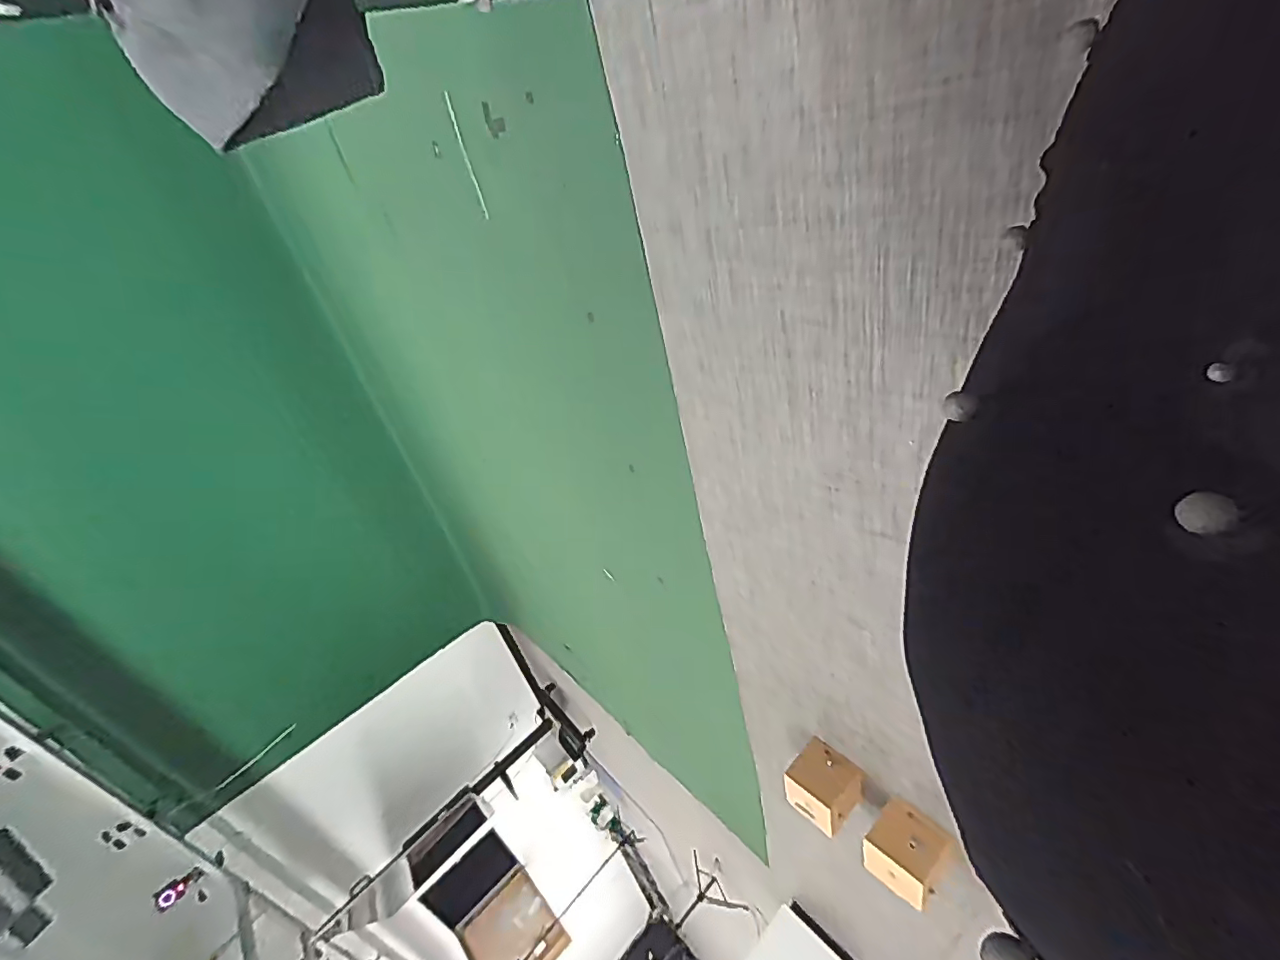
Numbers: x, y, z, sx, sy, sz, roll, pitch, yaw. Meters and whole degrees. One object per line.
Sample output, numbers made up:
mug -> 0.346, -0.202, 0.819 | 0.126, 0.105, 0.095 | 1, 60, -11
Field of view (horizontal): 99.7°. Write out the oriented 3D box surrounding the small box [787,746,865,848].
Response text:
small box -> 0.581, 0.979, 1.680 | 0.168, 0.176, 0.179 | 23, 136, 46

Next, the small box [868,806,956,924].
small box -> 0.753, 1.056, 1.496 | 0.168, 0.176, 0.179 | 22, 137, 46
